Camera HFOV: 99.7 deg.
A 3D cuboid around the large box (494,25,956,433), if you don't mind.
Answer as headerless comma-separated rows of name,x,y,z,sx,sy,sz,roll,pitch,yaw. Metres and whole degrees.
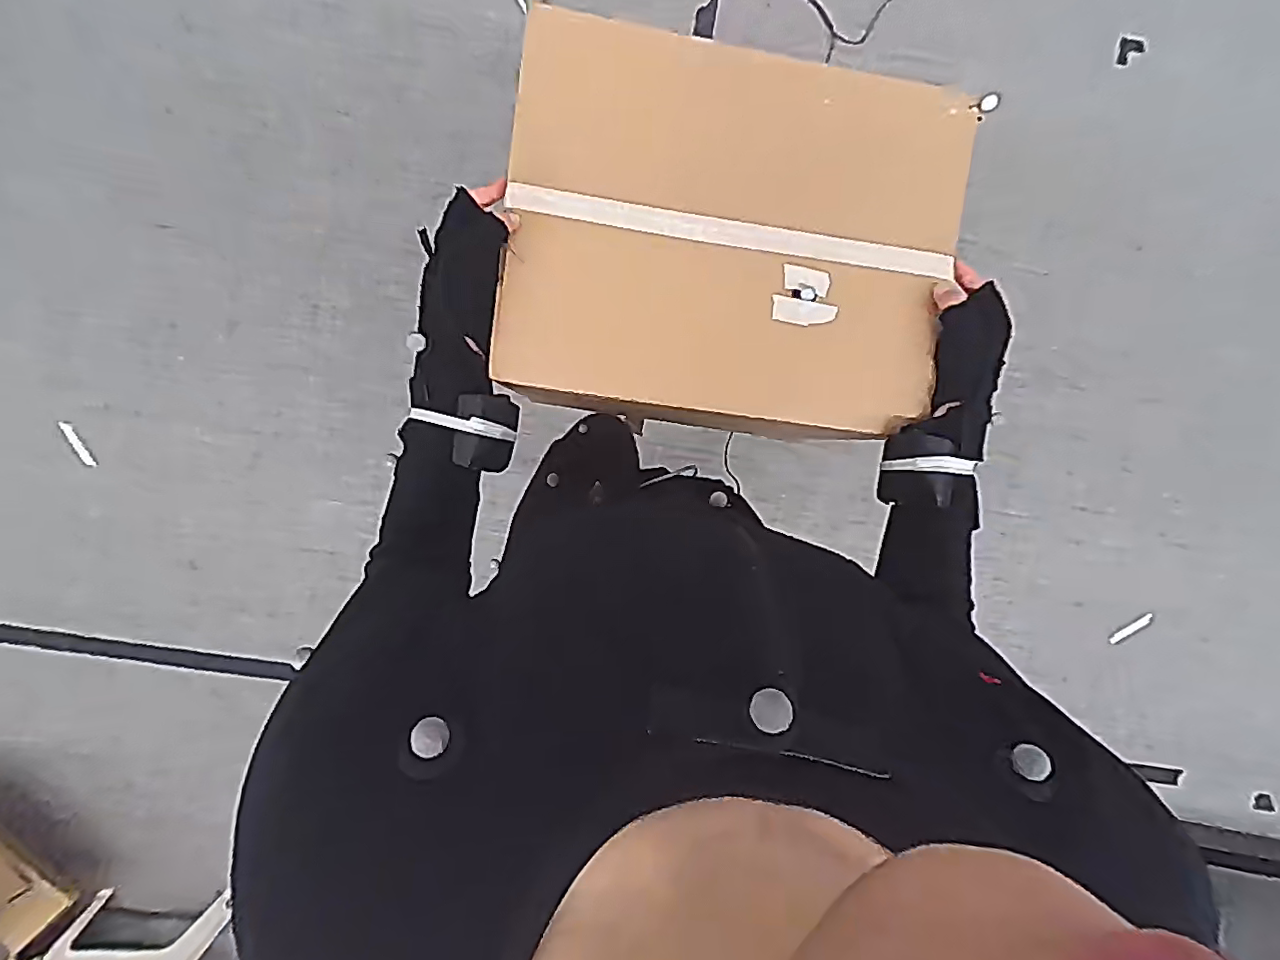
large box,0.065,-0.230,0.638,0.408,0.320,0.320,7,95,-6
